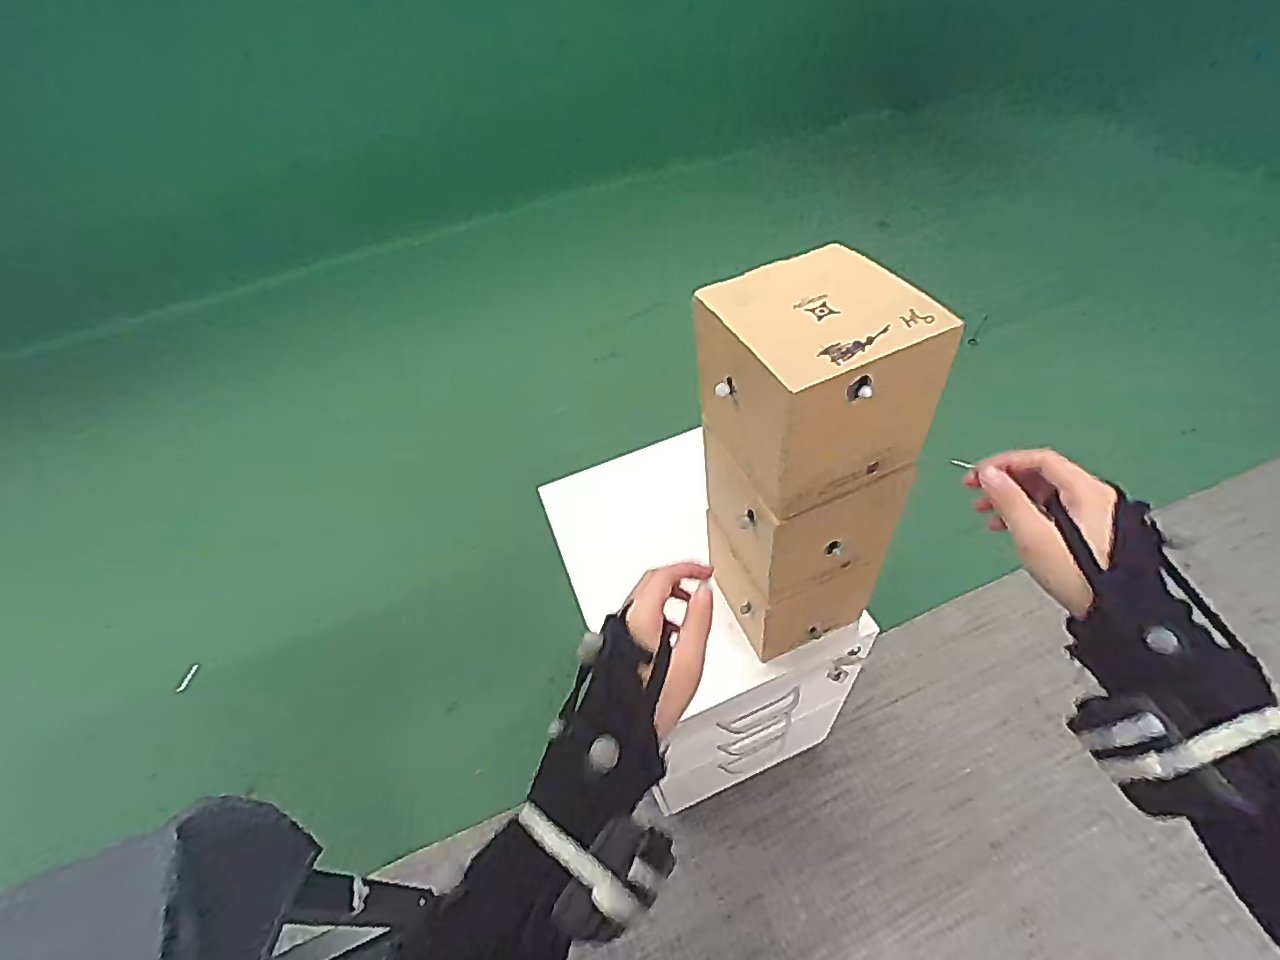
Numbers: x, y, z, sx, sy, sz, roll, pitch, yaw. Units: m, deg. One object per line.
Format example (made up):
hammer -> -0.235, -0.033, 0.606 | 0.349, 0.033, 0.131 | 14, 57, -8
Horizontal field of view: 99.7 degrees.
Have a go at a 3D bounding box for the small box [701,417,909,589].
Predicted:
small box -> 0.186, 0.011, 0.659 | 0.168, 0.176, 0.179 | -20, 49, -8

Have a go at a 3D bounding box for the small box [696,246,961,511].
small box -> 0.167, -0.101, 0.541 | 0.168, 0.176, 0.179 | -22, 49, -9
